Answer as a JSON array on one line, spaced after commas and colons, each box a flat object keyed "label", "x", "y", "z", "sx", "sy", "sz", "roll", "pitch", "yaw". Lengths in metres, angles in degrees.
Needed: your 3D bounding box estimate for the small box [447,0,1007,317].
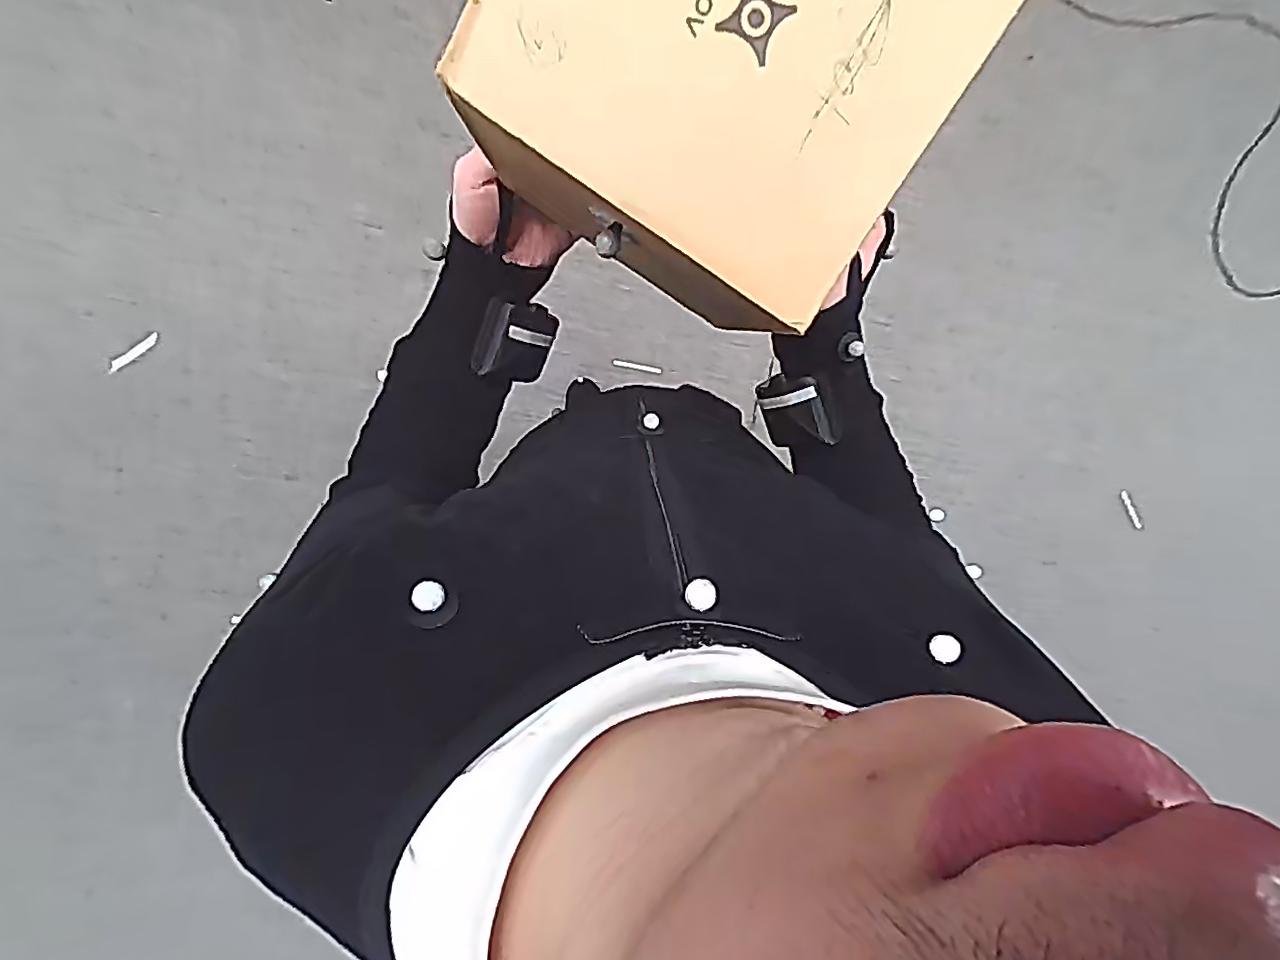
[{"label": "small box", "x": 0.033, "y": -0.201, "z": 0.288, "sx": 0.179, "sy": 0.176, "sz": 0.168, "roll": 30, "pitch": 103, "yaw": -12}]
